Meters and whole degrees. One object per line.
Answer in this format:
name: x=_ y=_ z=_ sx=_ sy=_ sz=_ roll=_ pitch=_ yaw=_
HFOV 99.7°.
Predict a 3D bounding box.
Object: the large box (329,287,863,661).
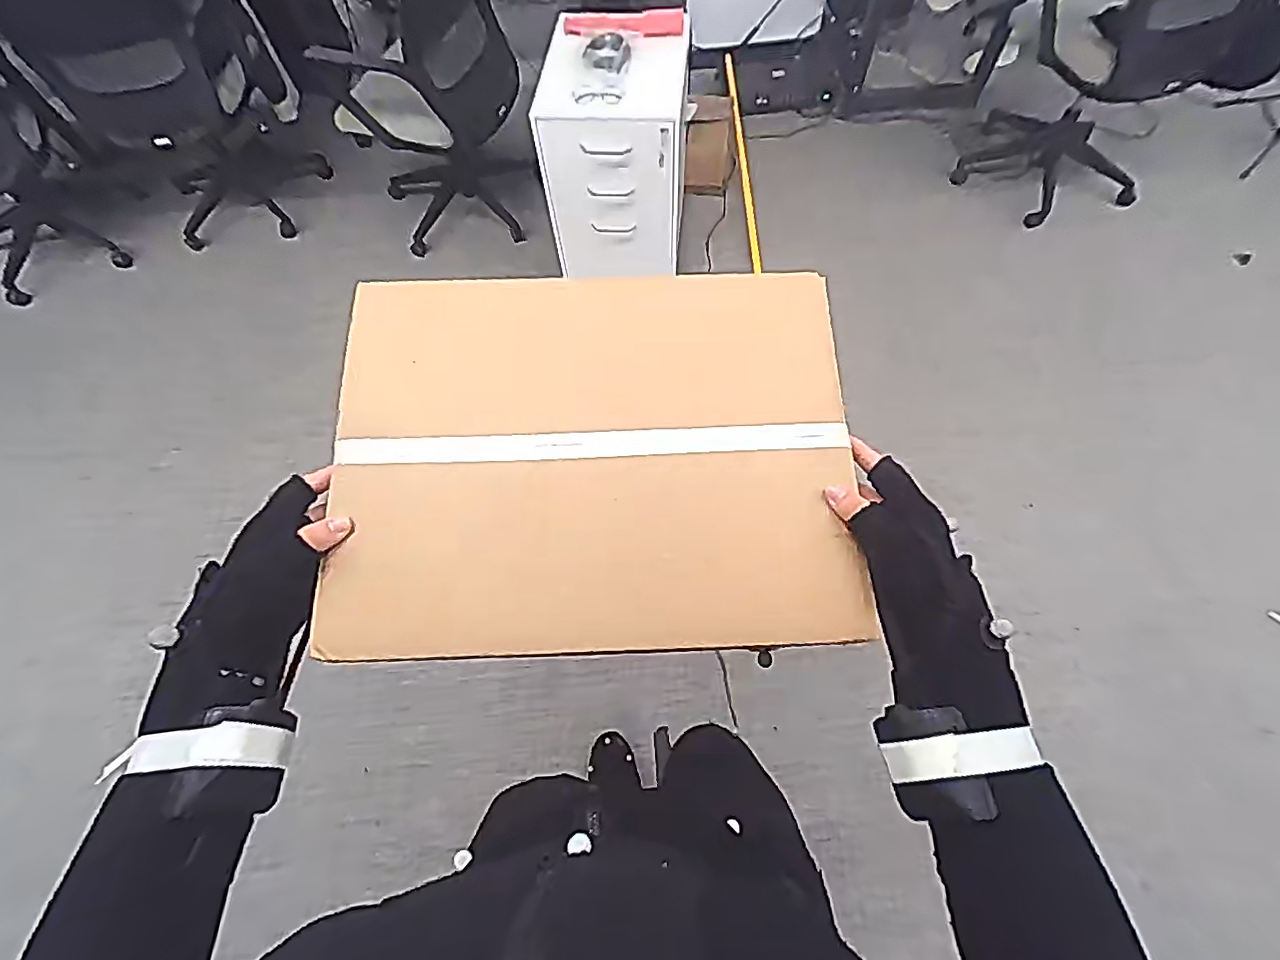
large box: x=-0.037 y=0.019 z=0.583 sx=0.408 sy=0.320 sz=0.320 roll=-1 pitch=73 yaw=-2
